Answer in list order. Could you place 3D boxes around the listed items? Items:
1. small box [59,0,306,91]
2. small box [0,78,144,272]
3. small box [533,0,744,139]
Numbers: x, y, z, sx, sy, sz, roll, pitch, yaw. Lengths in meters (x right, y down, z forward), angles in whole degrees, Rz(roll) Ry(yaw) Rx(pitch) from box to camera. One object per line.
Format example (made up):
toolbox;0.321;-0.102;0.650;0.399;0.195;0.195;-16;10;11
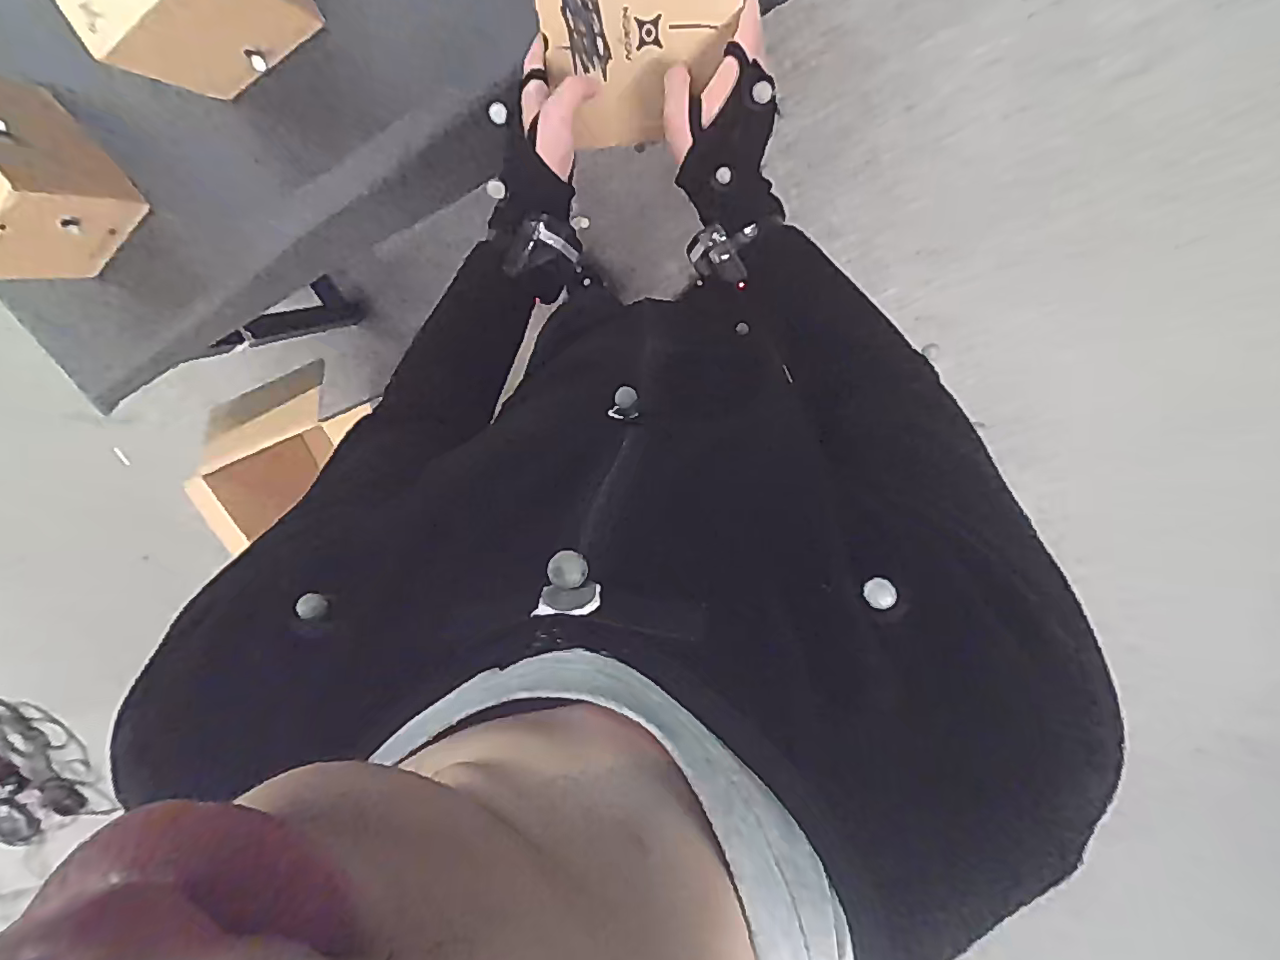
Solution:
small box;-0.498;-0.559;0.571;0.179;0.176;0.168;-23;108;15
small box;-0.804;-0.385;0.685;0.168;0.176;0.179;-33;103;17
small box;0.008;-0.434;0.508;0.179;0.176;0.168;1;132;8
